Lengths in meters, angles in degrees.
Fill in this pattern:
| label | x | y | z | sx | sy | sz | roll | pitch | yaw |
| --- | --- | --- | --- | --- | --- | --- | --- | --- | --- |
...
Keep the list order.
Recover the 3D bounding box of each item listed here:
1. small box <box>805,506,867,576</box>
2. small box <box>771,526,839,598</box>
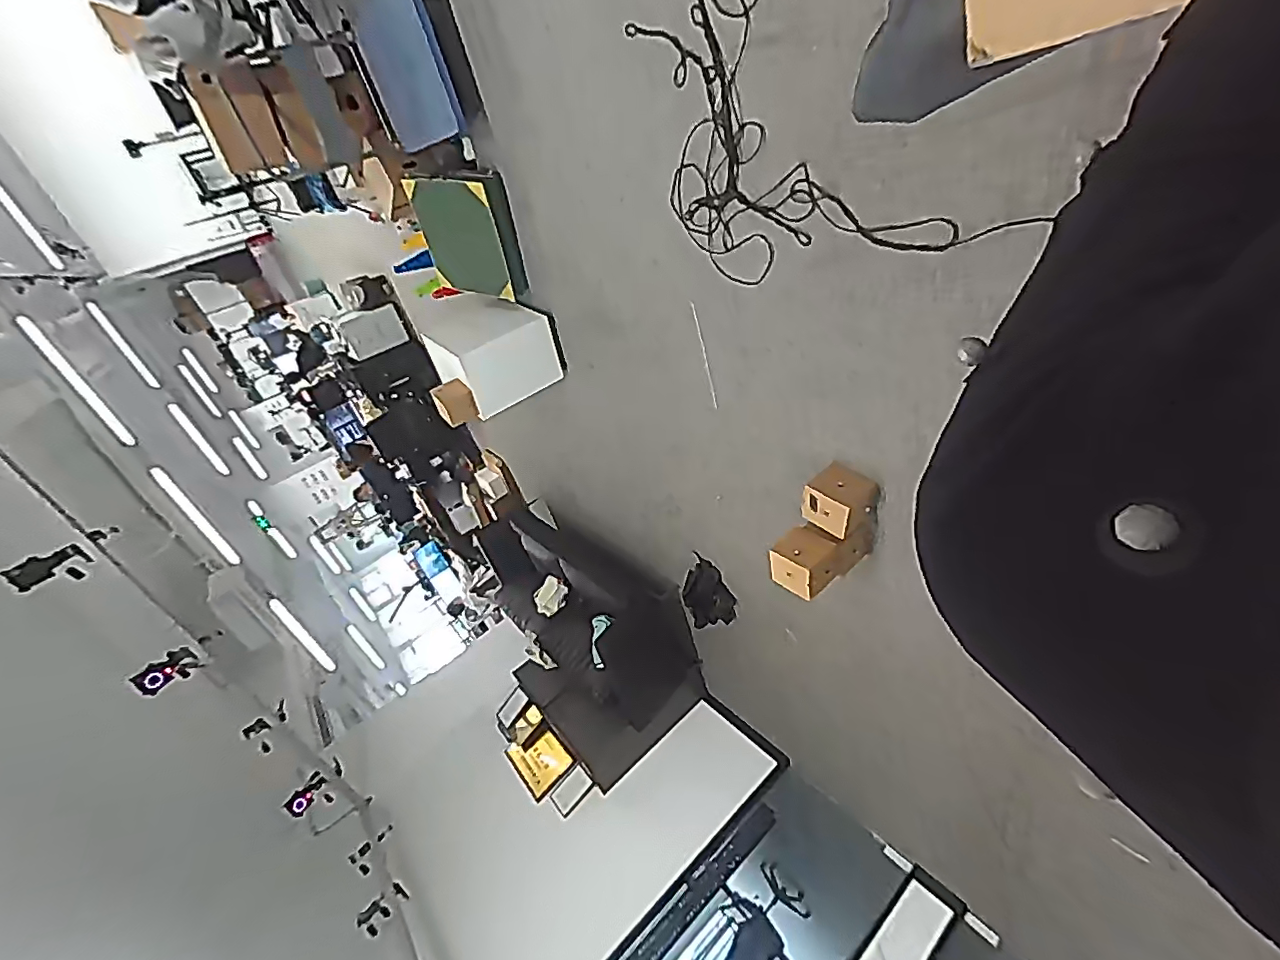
| label | x | y | z | sx | sy | sz | roll | pitch | yaw |
| --- | --- | --- | --- | --- | --- | --- | --- | --- | --- |
| small box | 0.744 | 0.226 | 2.059 | 0.179 | 0.176 | 0.168 | 28 | 144 | 45 |
| small box | 0.610 | 0.295 | 1.994 | 0.179 | 0.176 | 0.168 | 28 | 143 | 45 |
